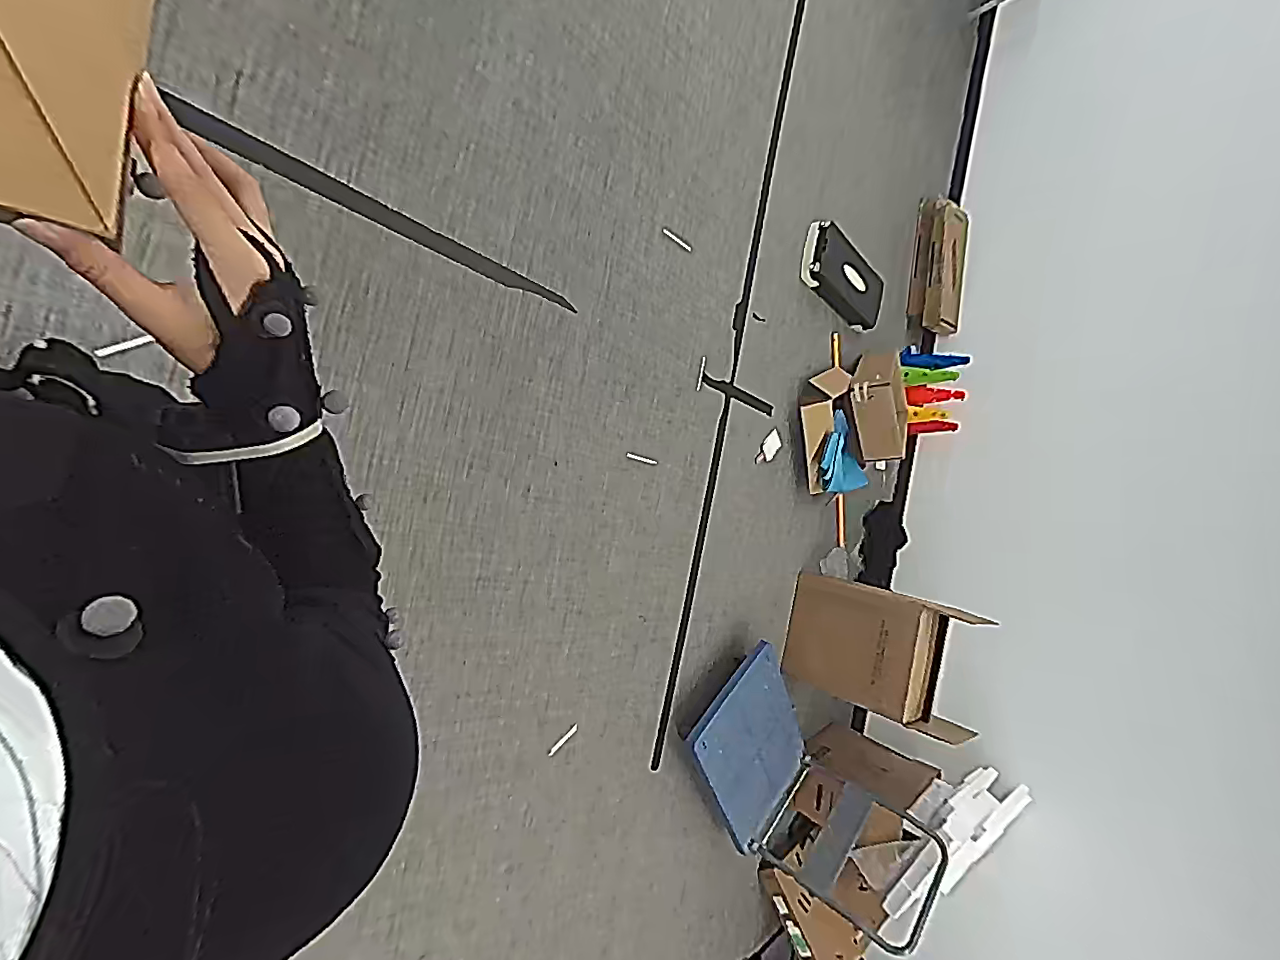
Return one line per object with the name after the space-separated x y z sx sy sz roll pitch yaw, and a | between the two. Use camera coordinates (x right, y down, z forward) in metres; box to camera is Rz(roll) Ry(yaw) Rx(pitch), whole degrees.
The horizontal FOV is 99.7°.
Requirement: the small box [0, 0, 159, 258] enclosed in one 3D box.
-0.333 -0.221 0.243 0.168 0.176 0.179 7 99 -45 | small box
